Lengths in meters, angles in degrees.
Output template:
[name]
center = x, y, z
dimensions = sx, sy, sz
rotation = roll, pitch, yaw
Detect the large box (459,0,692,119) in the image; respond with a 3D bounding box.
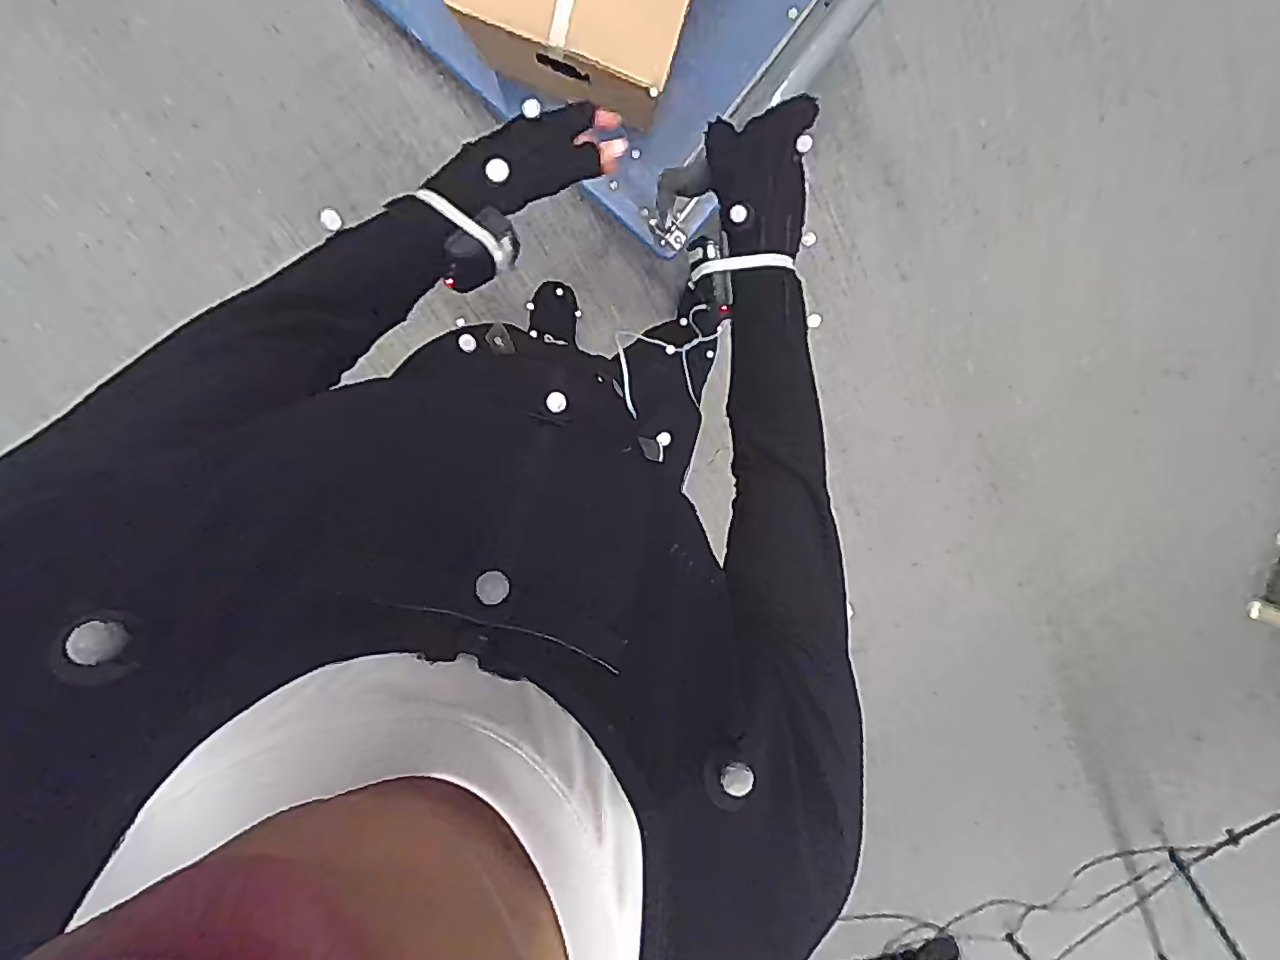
[large box]
center = -0.052, -0.840, 0.802
dimensions = 0.320, 0.320, 0.408
rotation = 17, 113, -9
